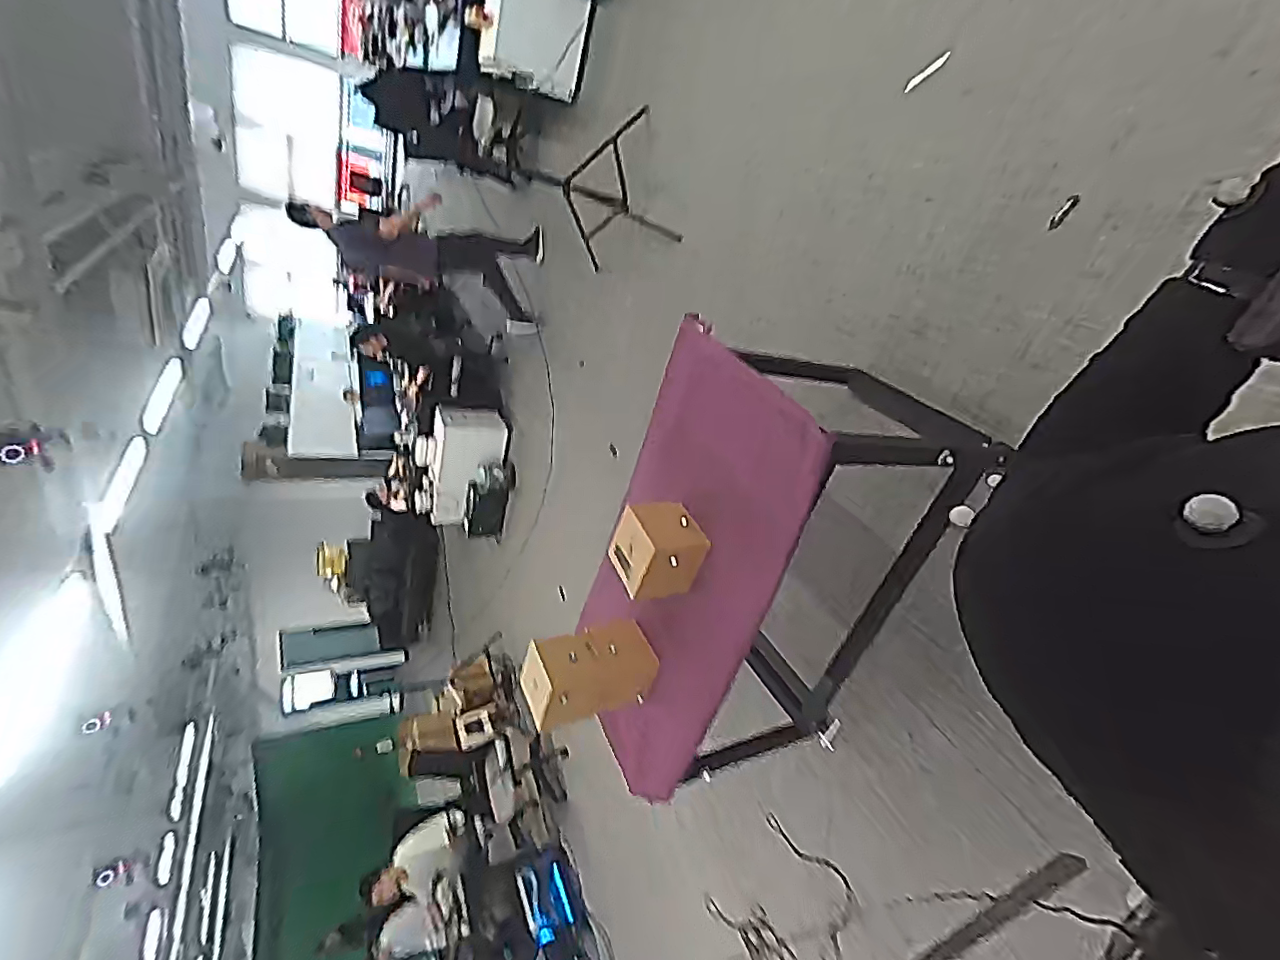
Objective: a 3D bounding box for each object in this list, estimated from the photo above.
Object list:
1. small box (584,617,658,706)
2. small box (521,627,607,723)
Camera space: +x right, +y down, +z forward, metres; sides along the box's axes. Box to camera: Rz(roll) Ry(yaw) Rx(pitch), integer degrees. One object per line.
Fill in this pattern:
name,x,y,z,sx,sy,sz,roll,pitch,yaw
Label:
small box,-0.070,0.519,1.573,0.179,0.176,0.168,52,132,45
small box,-0.207,0.527,1.481,0.168,0.176,0.179,51,132,45
